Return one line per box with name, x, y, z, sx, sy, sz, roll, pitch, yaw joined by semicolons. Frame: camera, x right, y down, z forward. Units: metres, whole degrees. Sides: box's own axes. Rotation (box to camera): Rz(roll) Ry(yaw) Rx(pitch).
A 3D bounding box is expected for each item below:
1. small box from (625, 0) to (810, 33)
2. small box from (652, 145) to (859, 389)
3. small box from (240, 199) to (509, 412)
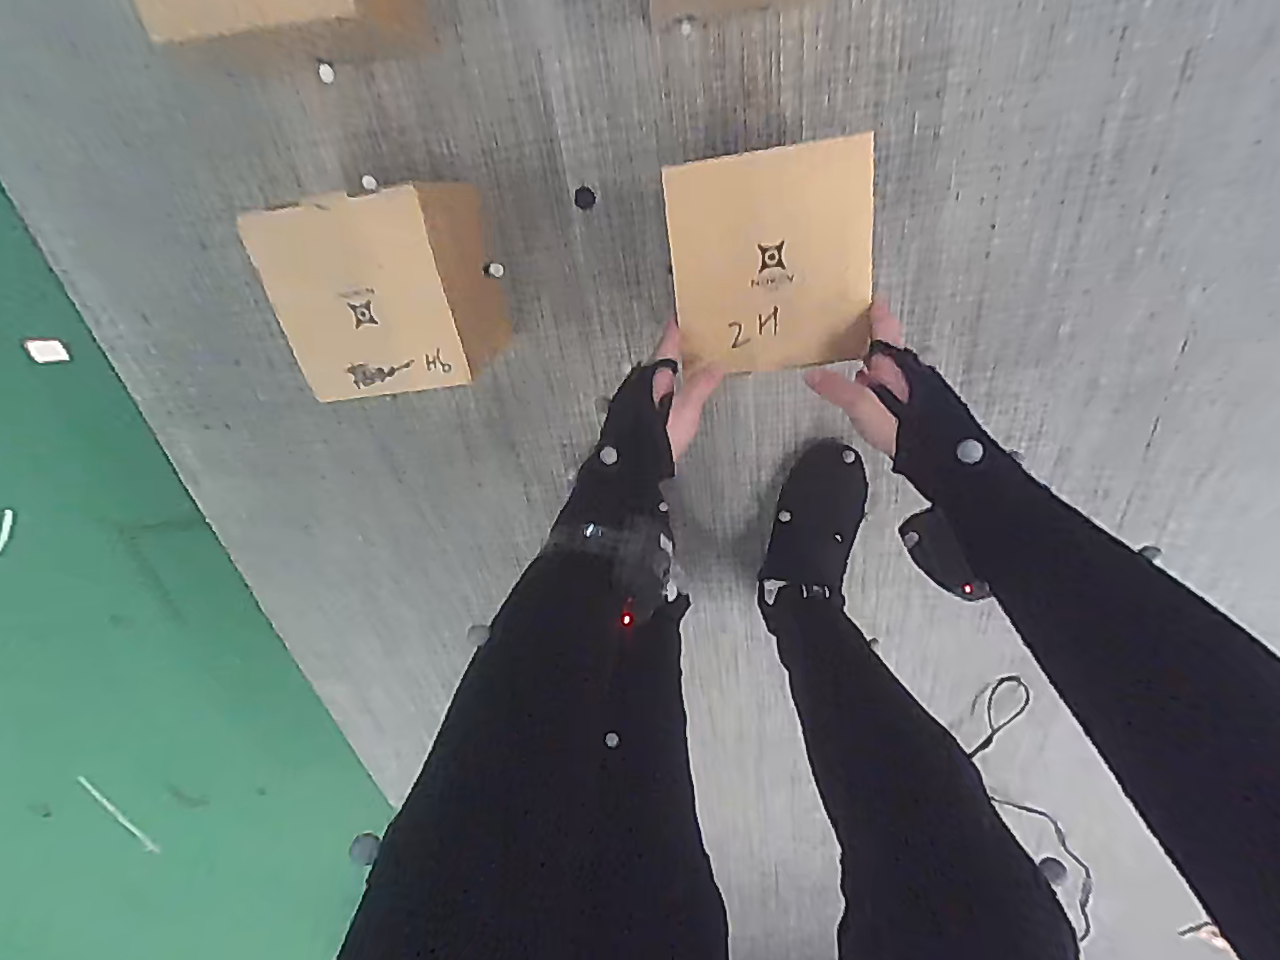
small box;0.063;-0.464;0.403;0.168;0.176;0.179;-5;119;5
small box;0.104;-0.198;0.528;0.168;0.176;0.179;-6;111;7
small box;-0.256;-0.189;0.573;0.168;0.176;0.179;-5;118;7
